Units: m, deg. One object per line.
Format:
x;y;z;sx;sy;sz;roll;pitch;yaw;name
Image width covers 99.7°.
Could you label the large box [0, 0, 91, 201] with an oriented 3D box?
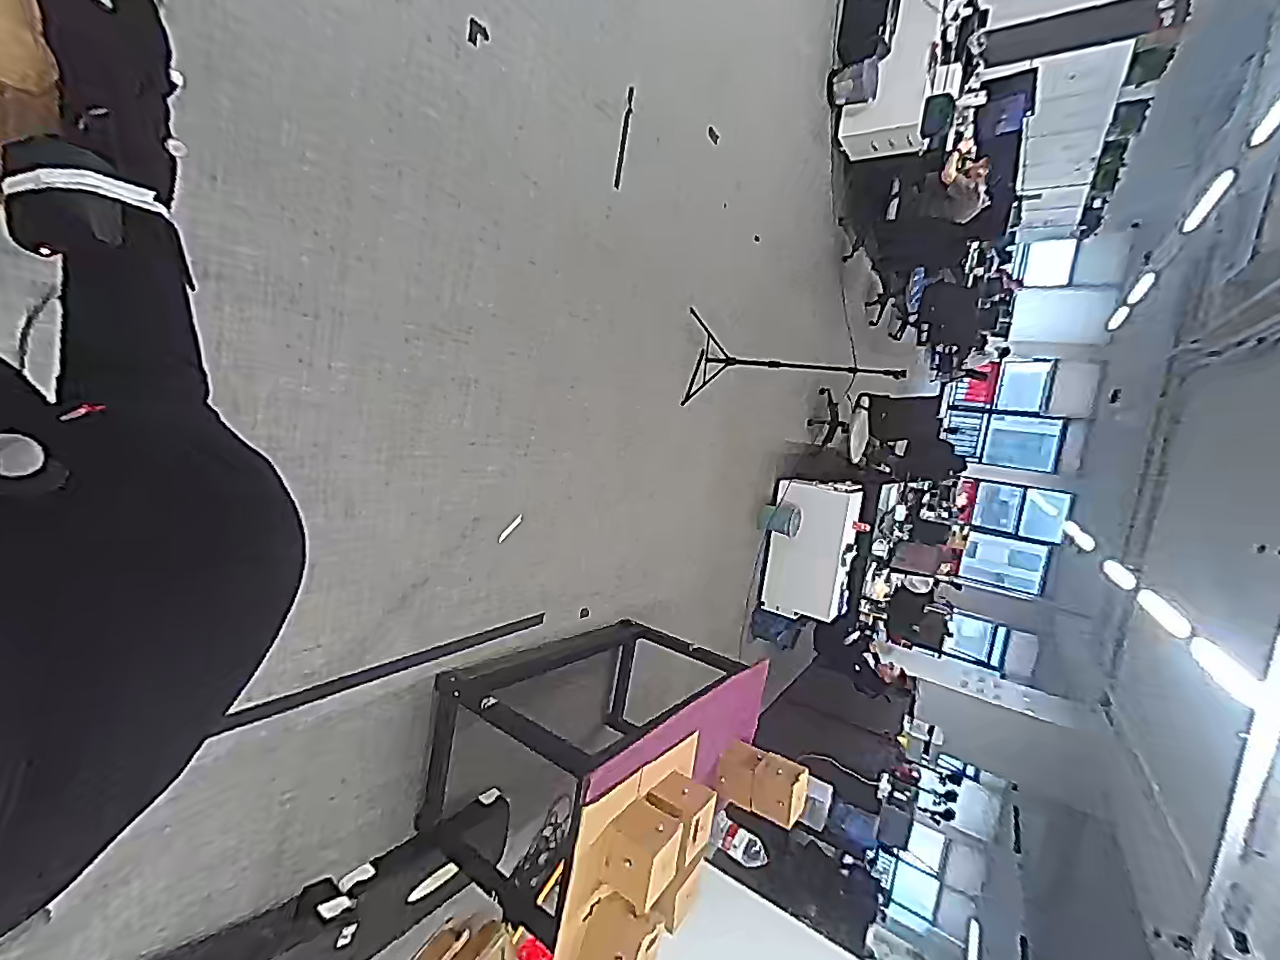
-0.639;-0.369;0.290;0.408;0.320;0.320;-16;120;-57;large box
